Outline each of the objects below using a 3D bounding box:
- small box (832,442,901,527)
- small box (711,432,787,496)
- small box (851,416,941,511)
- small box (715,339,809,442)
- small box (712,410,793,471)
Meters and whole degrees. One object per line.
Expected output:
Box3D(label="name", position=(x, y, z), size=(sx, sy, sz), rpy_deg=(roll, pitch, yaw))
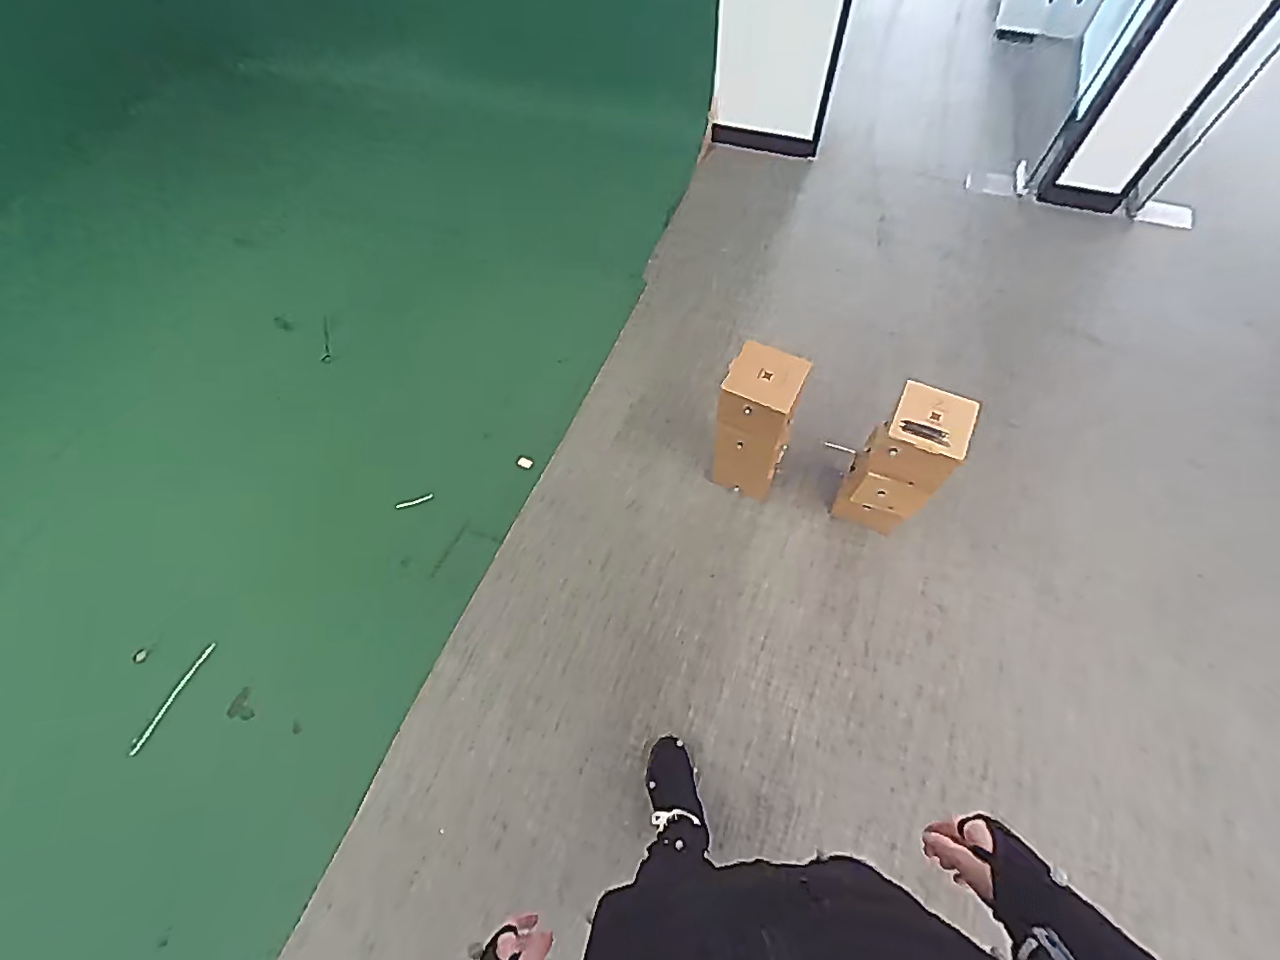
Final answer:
Box3D(label="small box", position=(0.686, 0.018, 1.594), size=(0.179, 0.176, 0.168), rpy_deg=(20, 67, 13))
Box3D(label="small box", position=(0.330, -0.071, 1.666), size=(0.179, 0.176, 0.168), rpy_deg=(22, 67, 13))
Box3D(label="small box", position=(0.676, -0.039, 1.442), size=(0.168, 0.176, 0.179), rpy_deg=(16, 65, 12))
Box3D(label="small box", position=(0.302, -0.222, 1.376), size=(0.179, 0.176, 0.168), rpy_deg=(25, 68, 15))
Box3D(label="small box", position=(0.313, -0.147, 1.520), size=(0.179, 0.176, 0.168), rpy_deg=(23, 68, 14))
